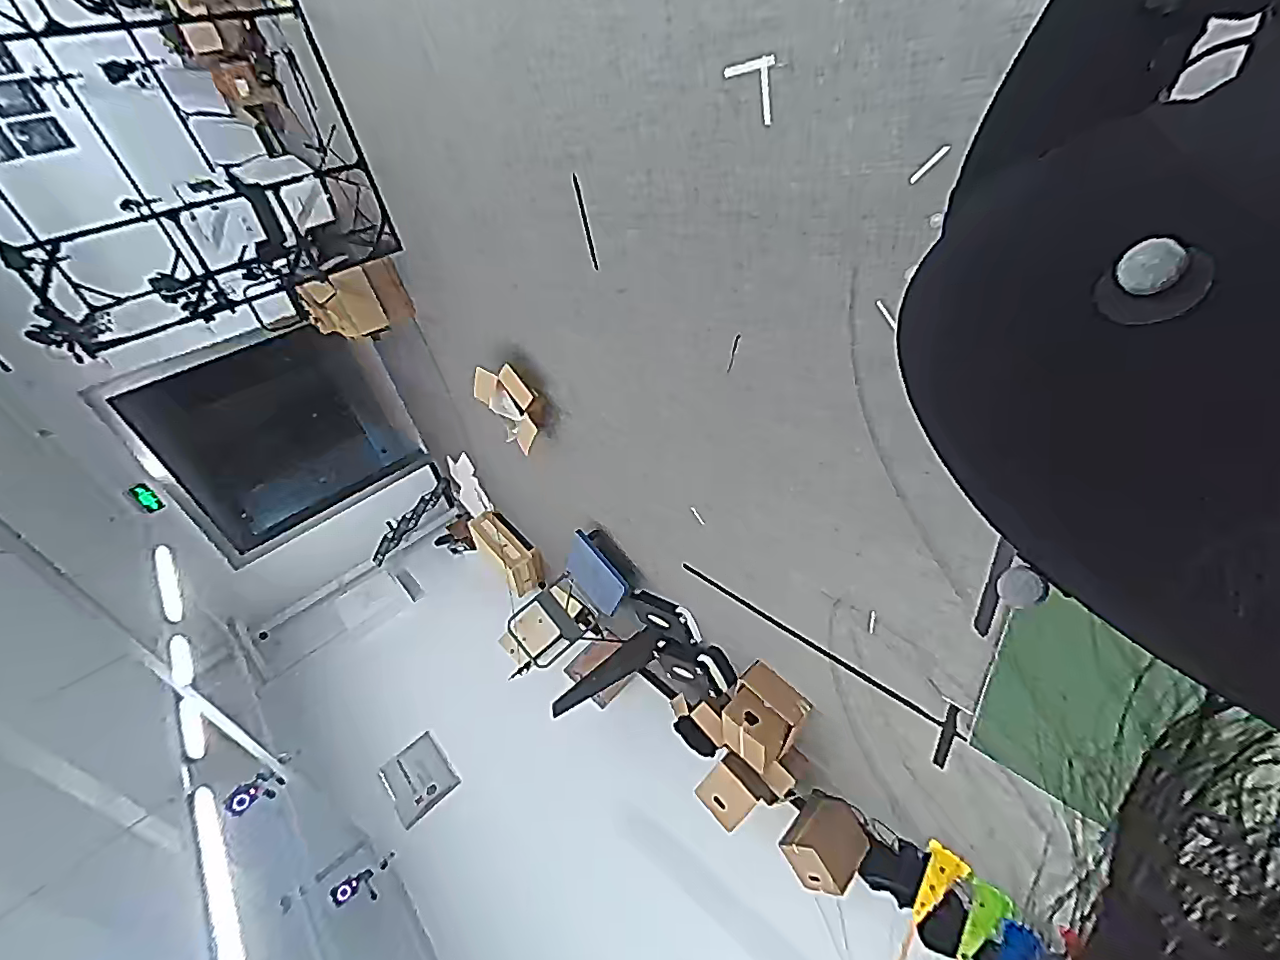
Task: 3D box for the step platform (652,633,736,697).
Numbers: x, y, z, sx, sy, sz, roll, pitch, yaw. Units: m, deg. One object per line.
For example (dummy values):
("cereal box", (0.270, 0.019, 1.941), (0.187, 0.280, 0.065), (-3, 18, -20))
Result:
("step platform", (0.363, 1.318, 3.874), (0.684, 0.204, 0.286), (-11, 111, 59))
